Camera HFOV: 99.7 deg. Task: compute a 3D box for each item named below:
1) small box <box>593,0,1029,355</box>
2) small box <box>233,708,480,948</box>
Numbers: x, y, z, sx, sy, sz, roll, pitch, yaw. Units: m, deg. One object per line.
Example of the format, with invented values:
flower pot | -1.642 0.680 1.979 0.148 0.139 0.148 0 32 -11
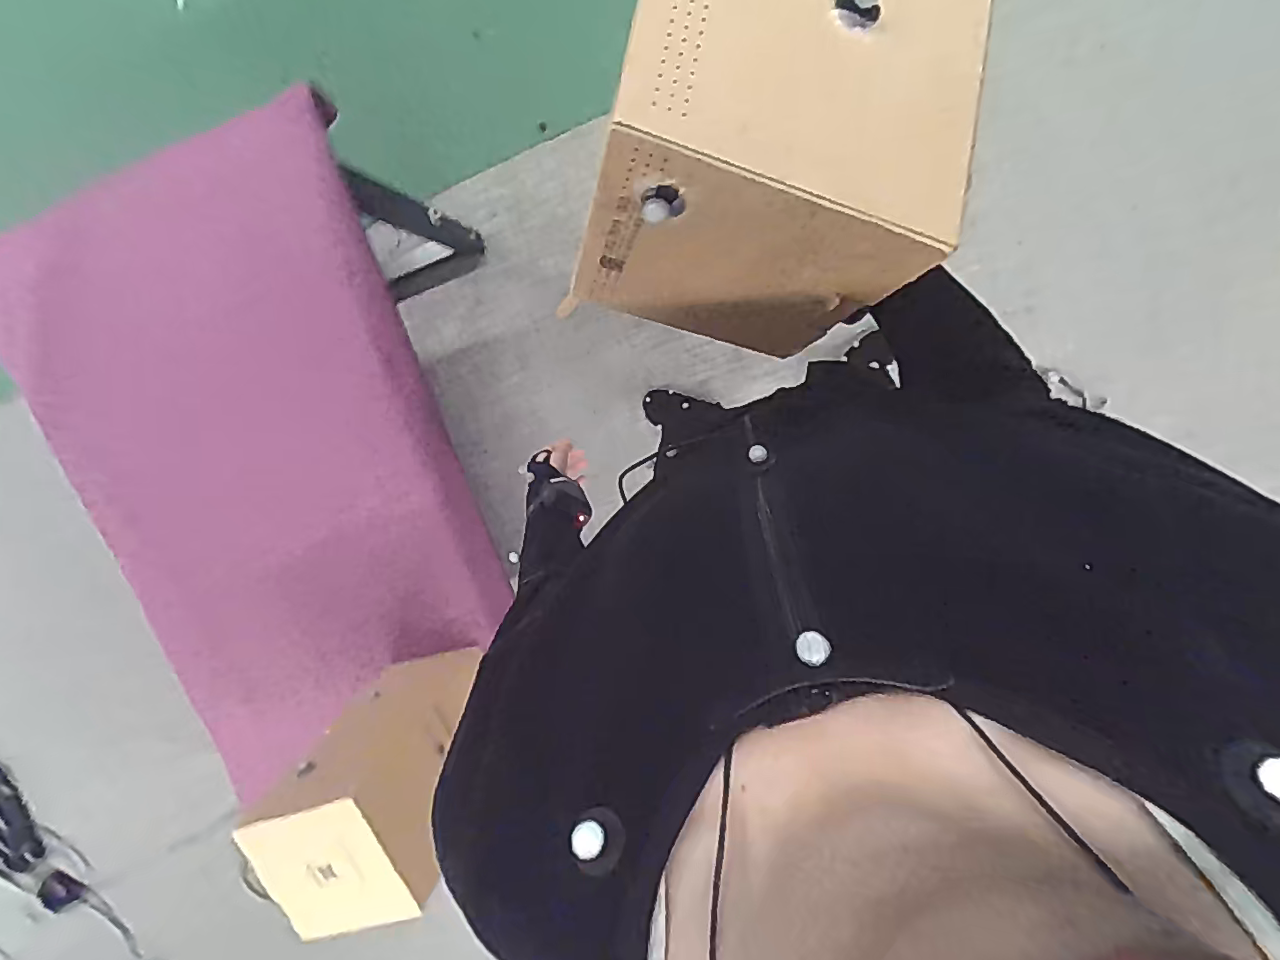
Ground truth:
small box | 0.077 -0.198 0.311 0.176 0.168 0.179 13 83 -13
small box | -0.333 0.419 0.671 0.179 0.176 0.168 -21 100 12
